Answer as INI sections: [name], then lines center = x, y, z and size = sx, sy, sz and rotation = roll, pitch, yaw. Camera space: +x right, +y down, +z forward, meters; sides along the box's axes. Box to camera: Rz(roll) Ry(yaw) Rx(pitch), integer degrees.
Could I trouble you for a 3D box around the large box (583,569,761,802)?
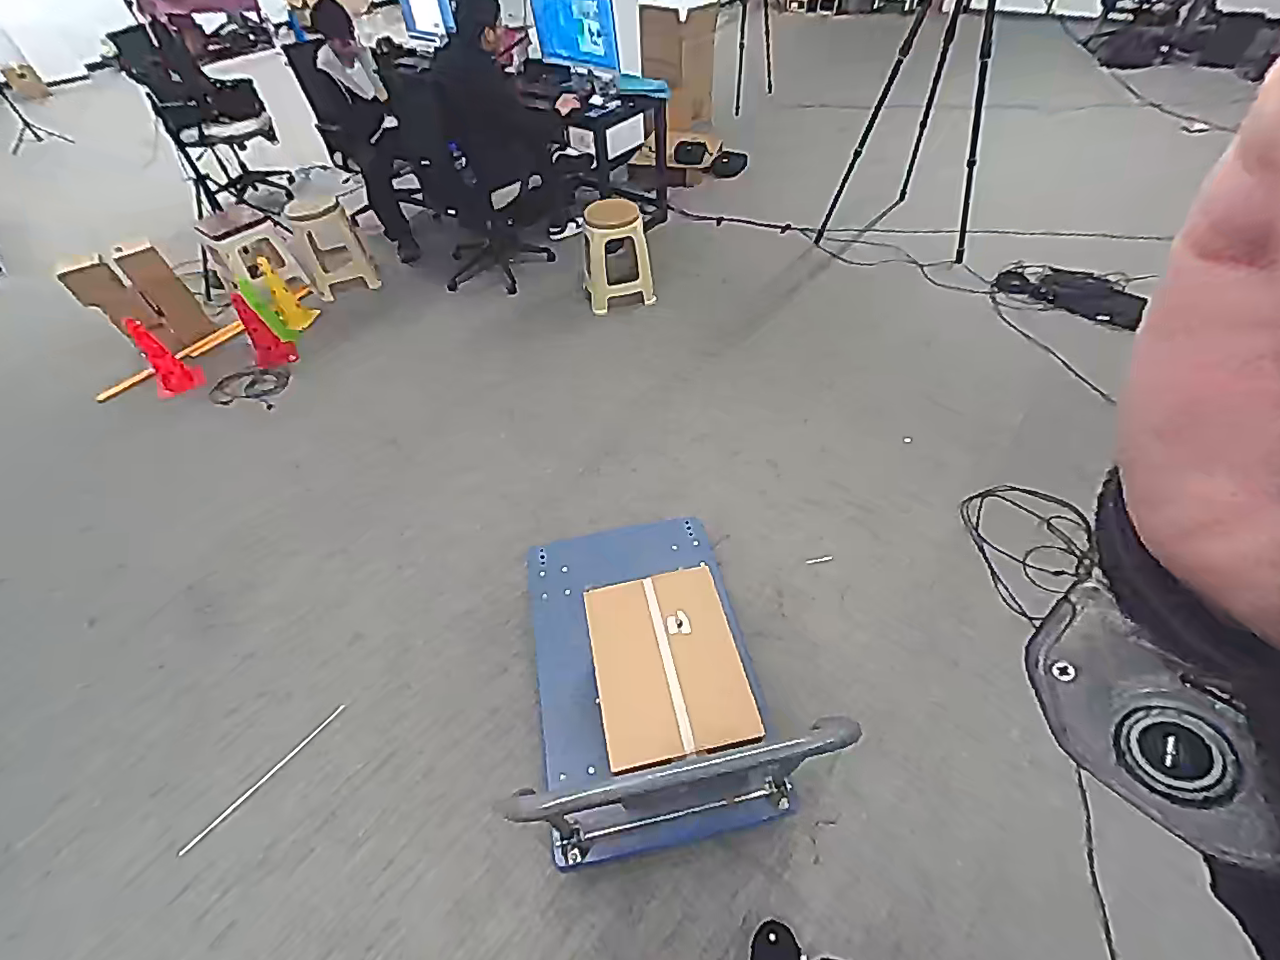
[large box]
center = 0.064, 0.491, 1.308
size = 0.320, 0.320, 0.408
rotation = -11, 49, -6
